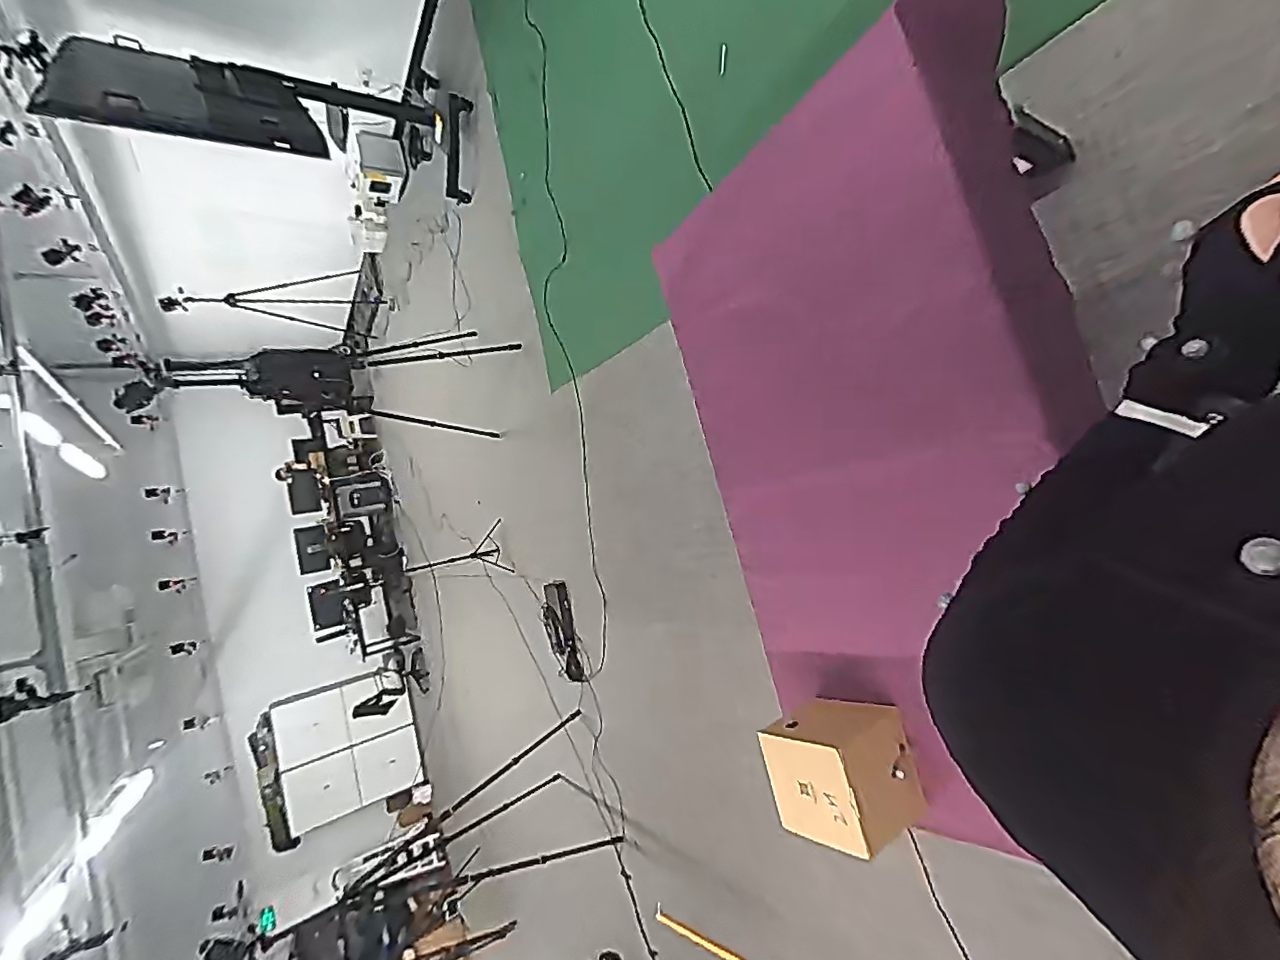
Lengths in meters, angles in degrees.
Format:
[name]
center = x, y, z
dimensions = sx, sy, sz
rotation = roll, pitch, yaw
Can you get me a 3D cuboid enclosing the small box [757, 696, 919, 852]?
[small box]
center = 0.336, 0.484, 0.925
dimensions = 0.179, 0.176, 0.168
rotation = -23, 79, 54
